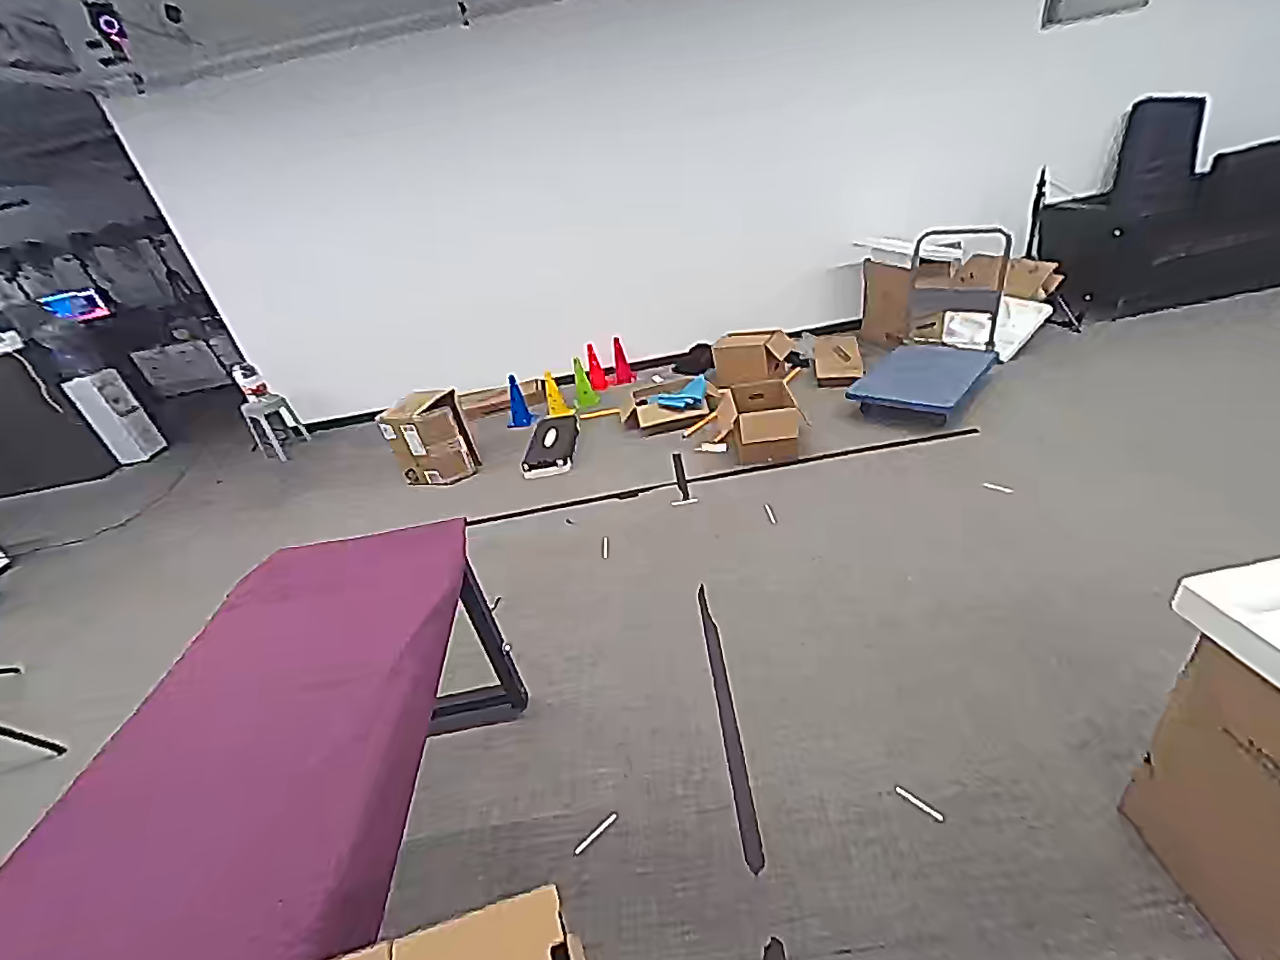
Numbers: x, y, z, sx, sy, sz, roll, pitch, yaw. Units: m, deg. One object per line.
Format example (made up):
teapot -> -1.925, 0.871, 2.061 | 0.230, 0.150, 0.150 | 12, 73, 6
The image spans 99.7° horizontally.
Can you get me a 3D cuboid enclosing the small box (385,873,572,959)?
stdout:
small box -> -0.157, 0.560, 0.549 | 0.179, 0.176, 0.168 | -4, 25, -22
